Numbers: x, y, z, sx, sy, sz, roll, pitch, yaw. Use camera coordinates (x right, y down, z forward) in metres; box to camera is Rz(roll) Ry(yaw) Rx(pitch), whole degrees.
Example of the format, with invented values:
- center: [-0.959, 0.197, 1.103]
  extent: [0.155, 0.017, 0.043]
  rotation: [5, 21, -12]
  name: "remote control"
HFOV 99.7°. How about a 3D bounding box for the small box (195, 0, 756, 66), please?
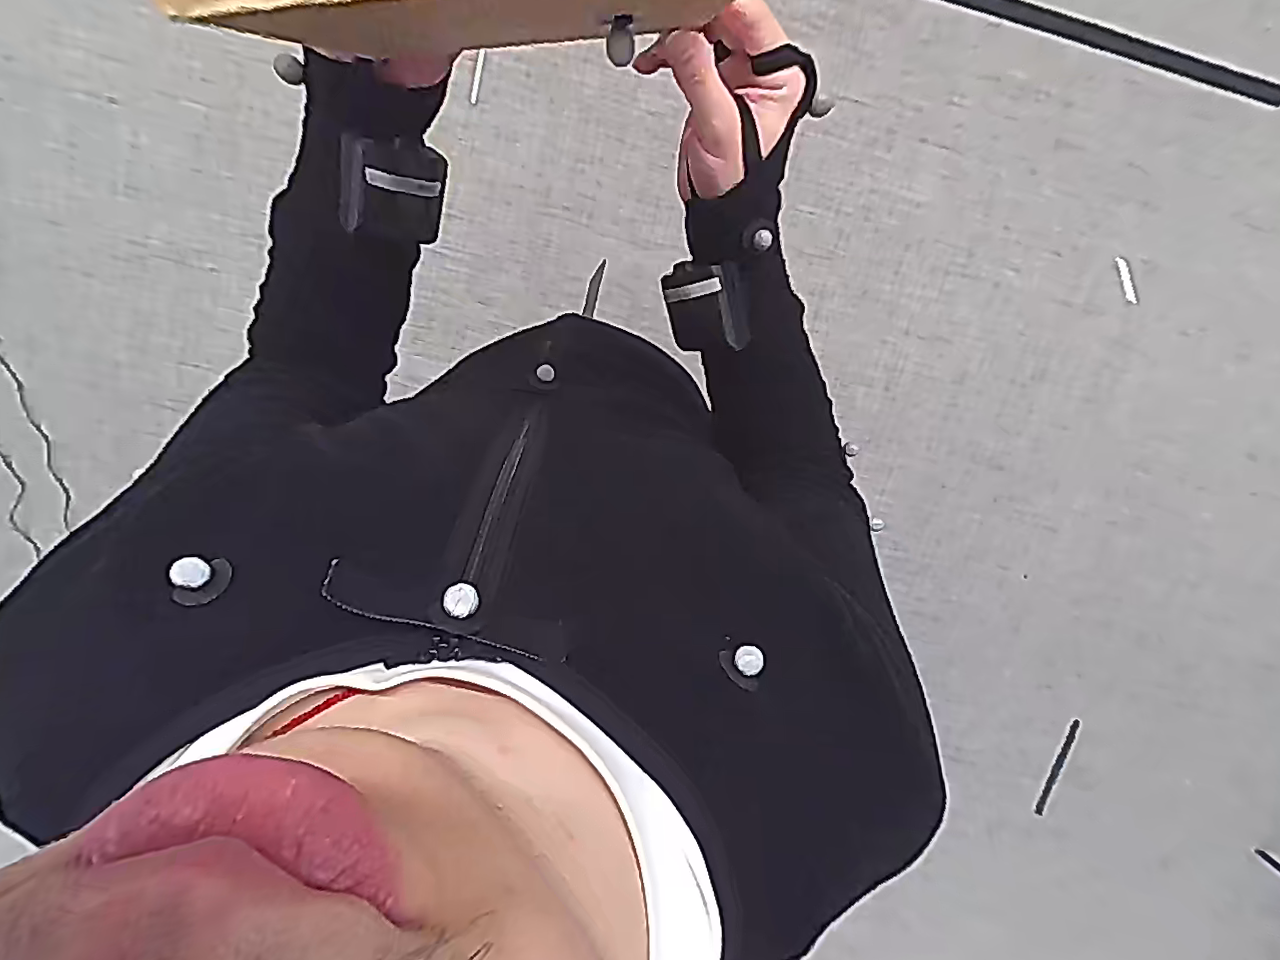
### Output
- center: [-0.055, -0.254, 0.185]
  extent: [0.179, 0.176, 0.168]
  rotation: [-5, 125, 1]
  name: "small box"
